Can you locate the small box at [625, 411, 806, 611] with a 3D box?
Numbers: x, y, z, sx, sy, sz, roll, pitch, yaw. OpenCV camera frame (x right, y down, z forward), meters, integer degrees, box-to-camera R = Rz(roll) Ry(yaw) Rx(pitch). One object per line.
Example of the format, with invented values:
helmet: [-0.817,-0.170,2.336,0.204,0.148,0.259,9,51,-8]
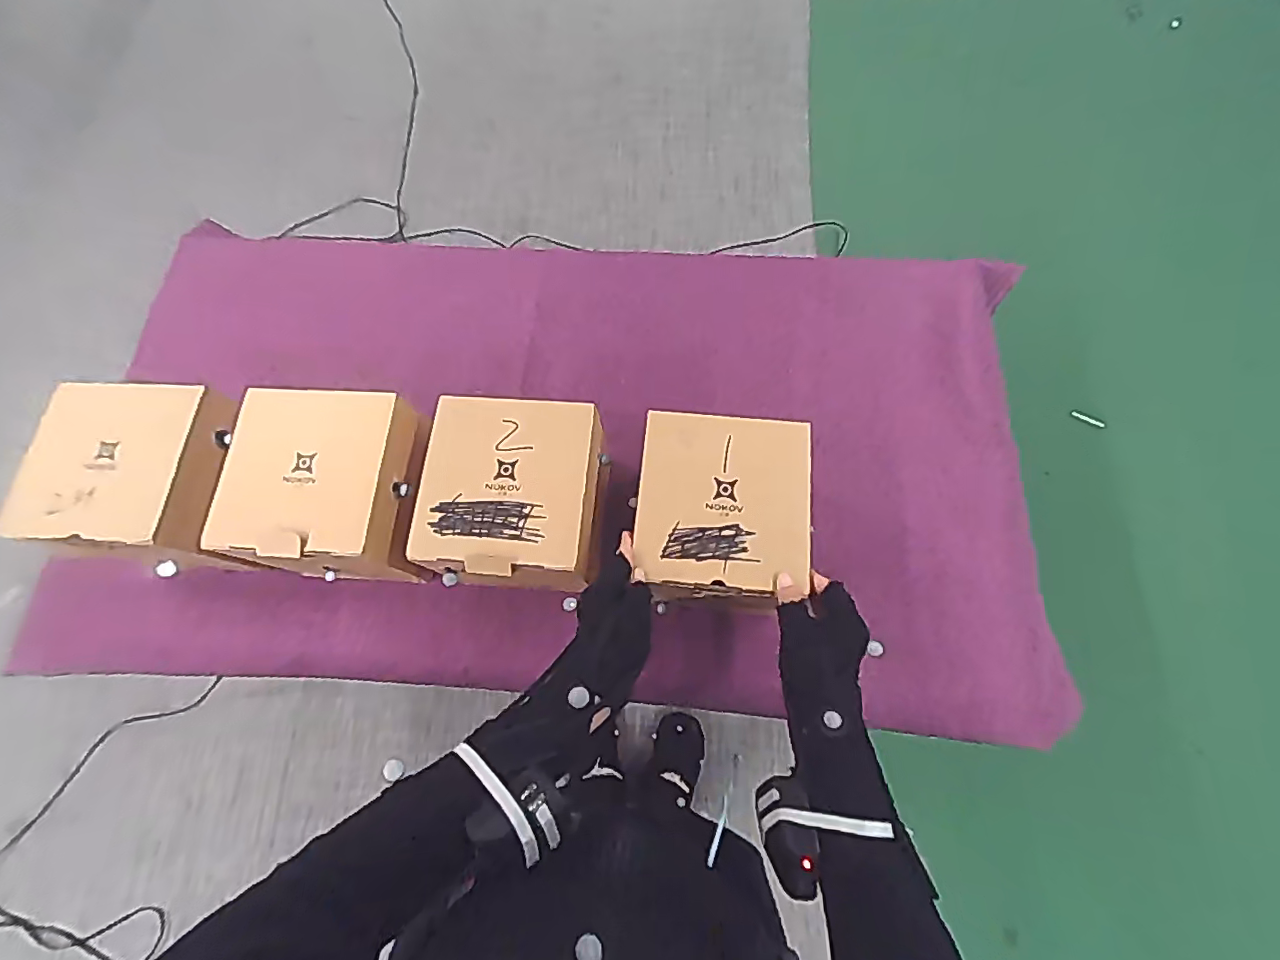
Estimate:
small box: [0.081,0.043,0.600,0.168,0.176,0.179,5,70,4]
